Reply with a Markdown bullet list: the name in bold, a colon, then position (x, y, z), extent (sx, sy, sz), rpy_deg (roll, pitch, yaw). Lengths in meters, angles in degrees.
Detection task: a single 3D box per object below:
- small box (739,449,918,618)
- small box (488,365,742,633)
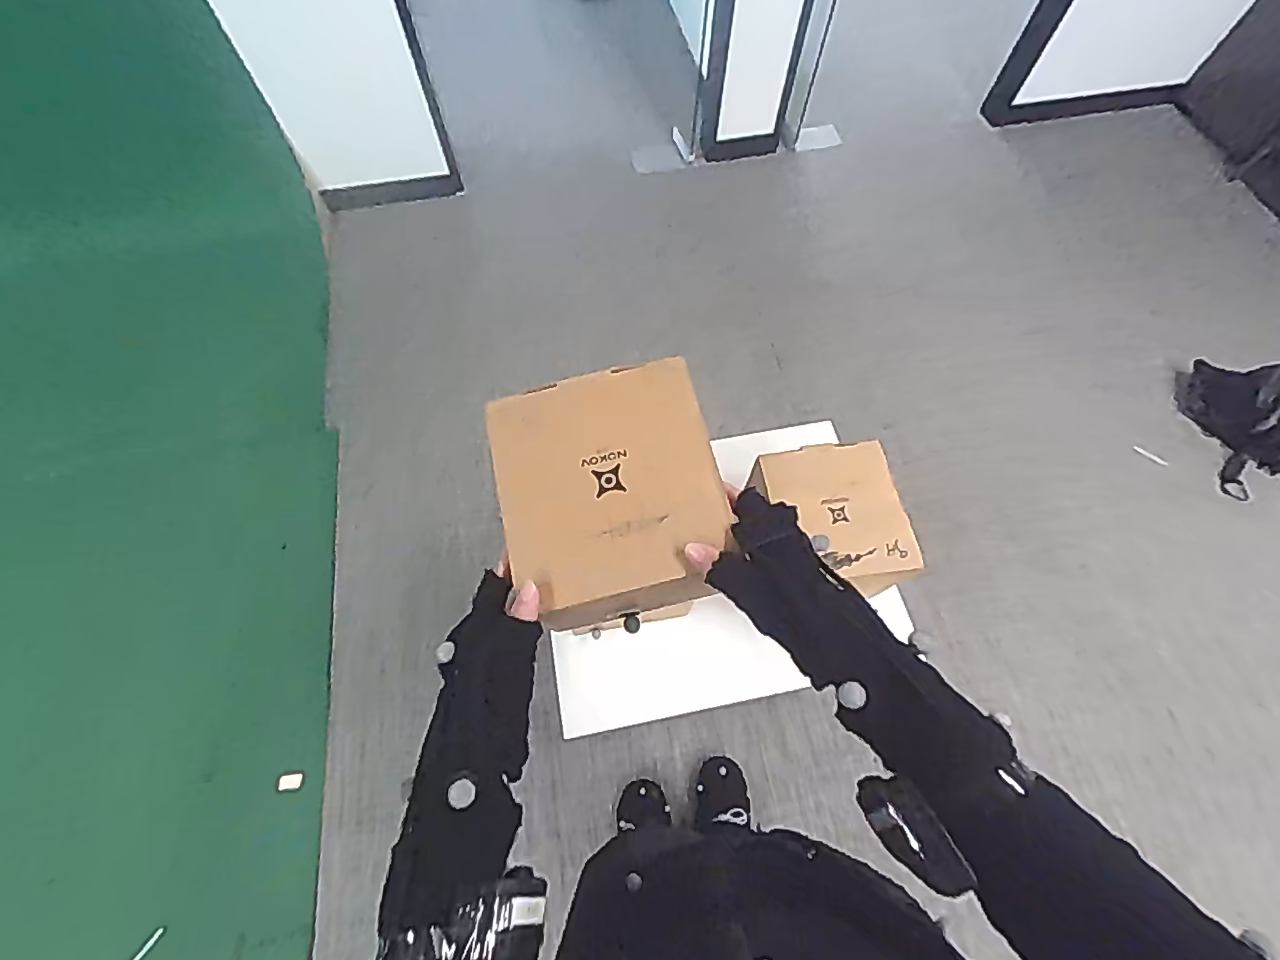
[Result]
- **small box**: position (0.241, 0.079, 0.747), extent (0.168, 0.176, 0.179), rpy_deg (-7, 64, -3)
- **small box**: position (-0.022, 0.028, 0.484), extent (0.168, 0.176, 0.179), rpy_deg (-14, 72, -2)
